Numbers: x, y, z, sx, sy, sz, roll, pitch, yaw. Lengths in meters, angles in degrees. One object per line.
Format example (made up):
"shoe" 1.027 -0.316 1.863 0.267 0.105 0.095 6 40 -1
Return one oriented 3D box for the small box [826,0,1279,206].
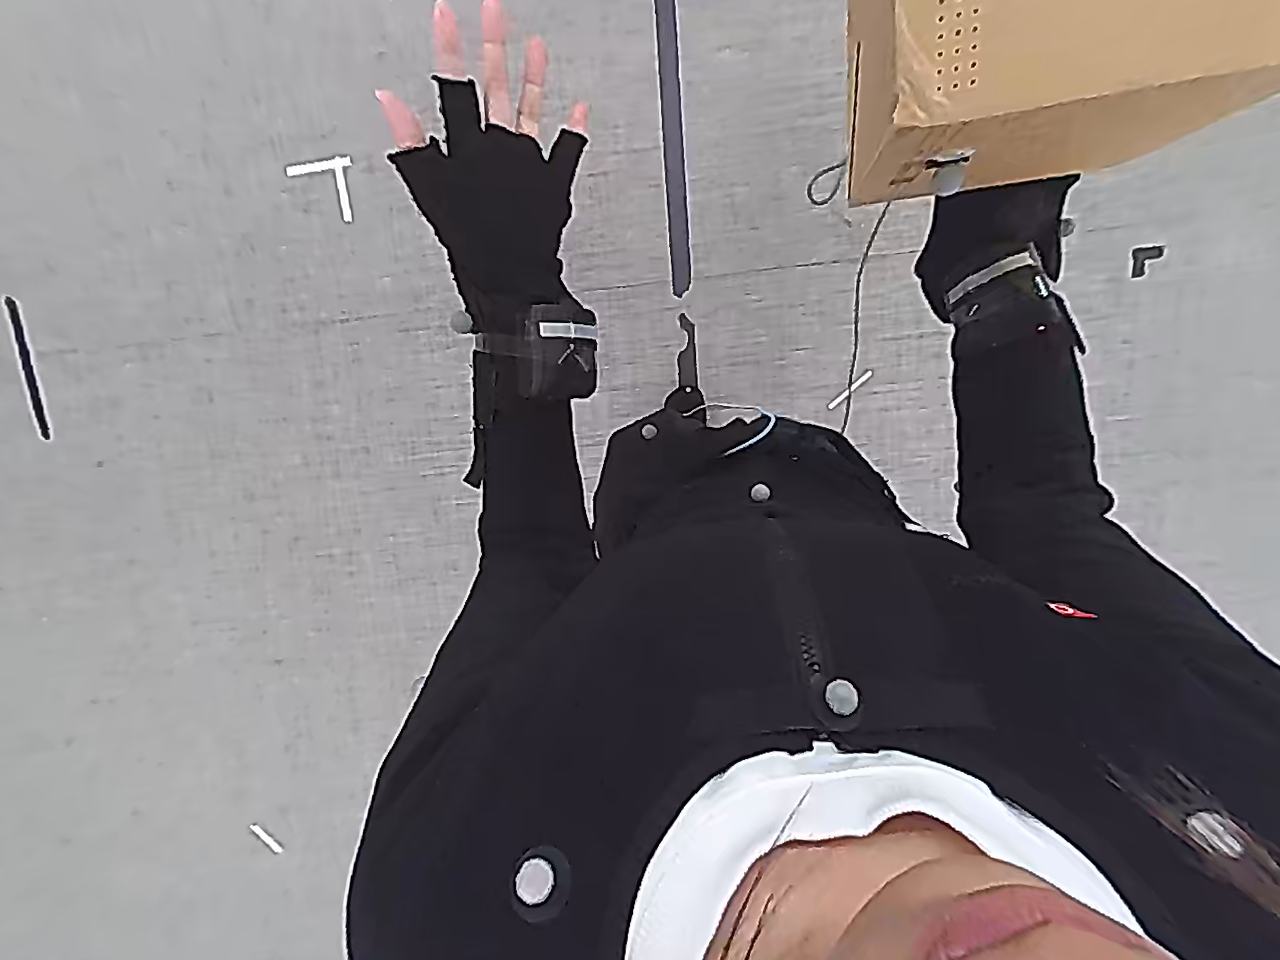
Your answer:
"small box" 0.192 -0.265 0.281 0.176 0.168 0.179 -1 105 16
